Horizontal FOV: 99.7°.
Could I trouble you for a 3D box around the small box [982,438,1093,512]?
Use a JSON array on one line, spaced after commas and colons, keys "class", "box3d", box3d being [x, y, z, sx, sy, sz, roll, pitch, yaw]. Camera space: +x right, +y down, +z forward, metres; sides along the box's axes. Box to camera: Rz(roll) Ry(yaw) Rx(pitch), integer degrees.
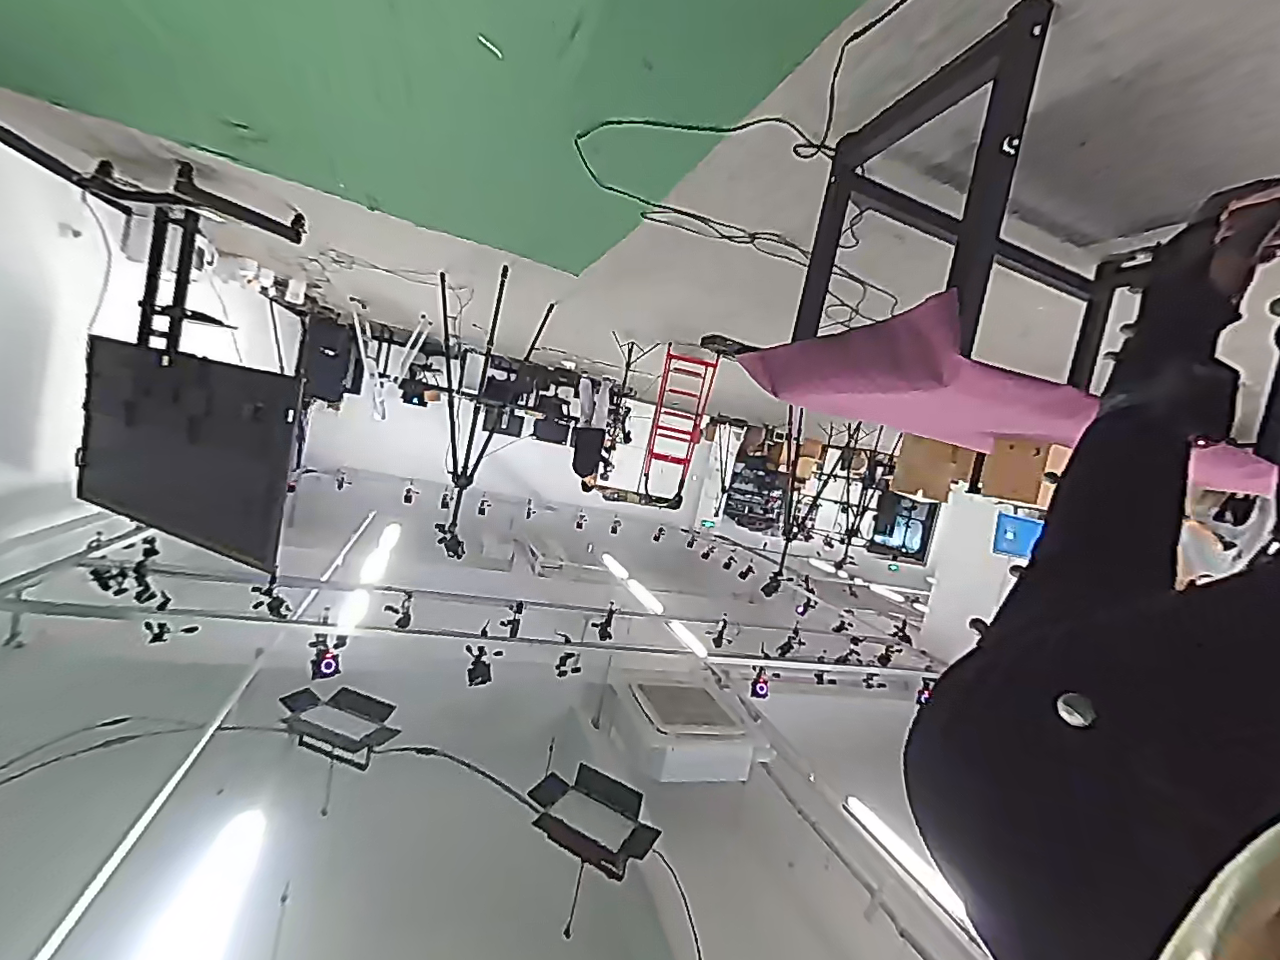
[{"class": "small box", "box3d": [1.091, -0.018, 1.487, 0.179, 0.176, 0.168, 10, -176, -18]}]
